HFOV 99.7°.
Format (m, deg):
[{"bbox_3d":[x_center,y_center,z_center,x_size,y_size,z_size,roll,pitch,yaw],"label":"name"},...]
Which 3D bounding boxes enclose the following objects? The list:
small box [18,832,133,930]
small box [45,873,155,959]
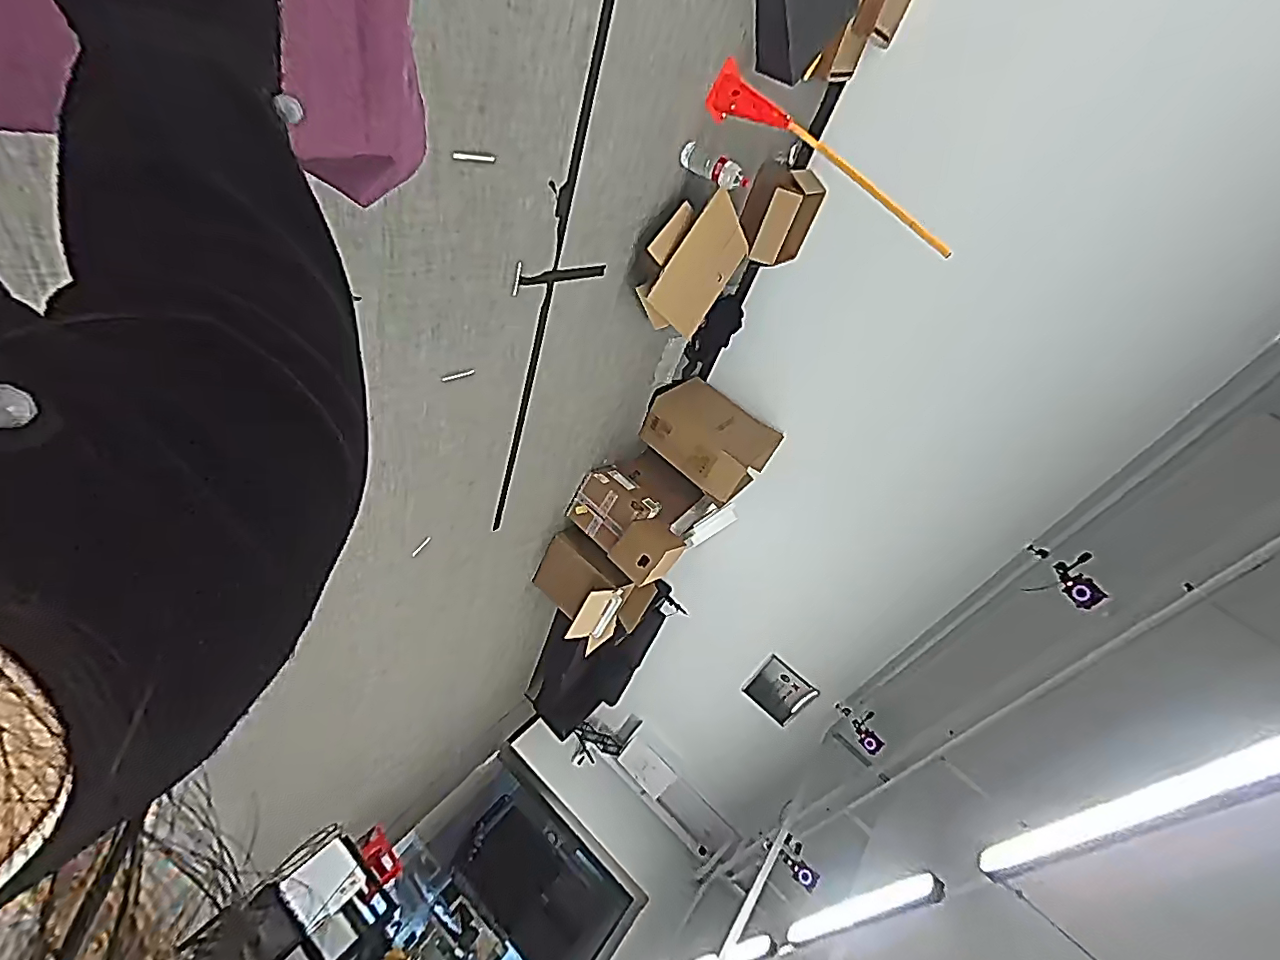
[{"bbox_3d":[-1.708,1.220,1.641,0.179,0.176,0.168,-32,152,-45],"label":"small box"},{"bbox_3d":[-1.582,1.307,1.588,0.168,0.176,0.179,-32,152,-46],"label":"small box"}]
